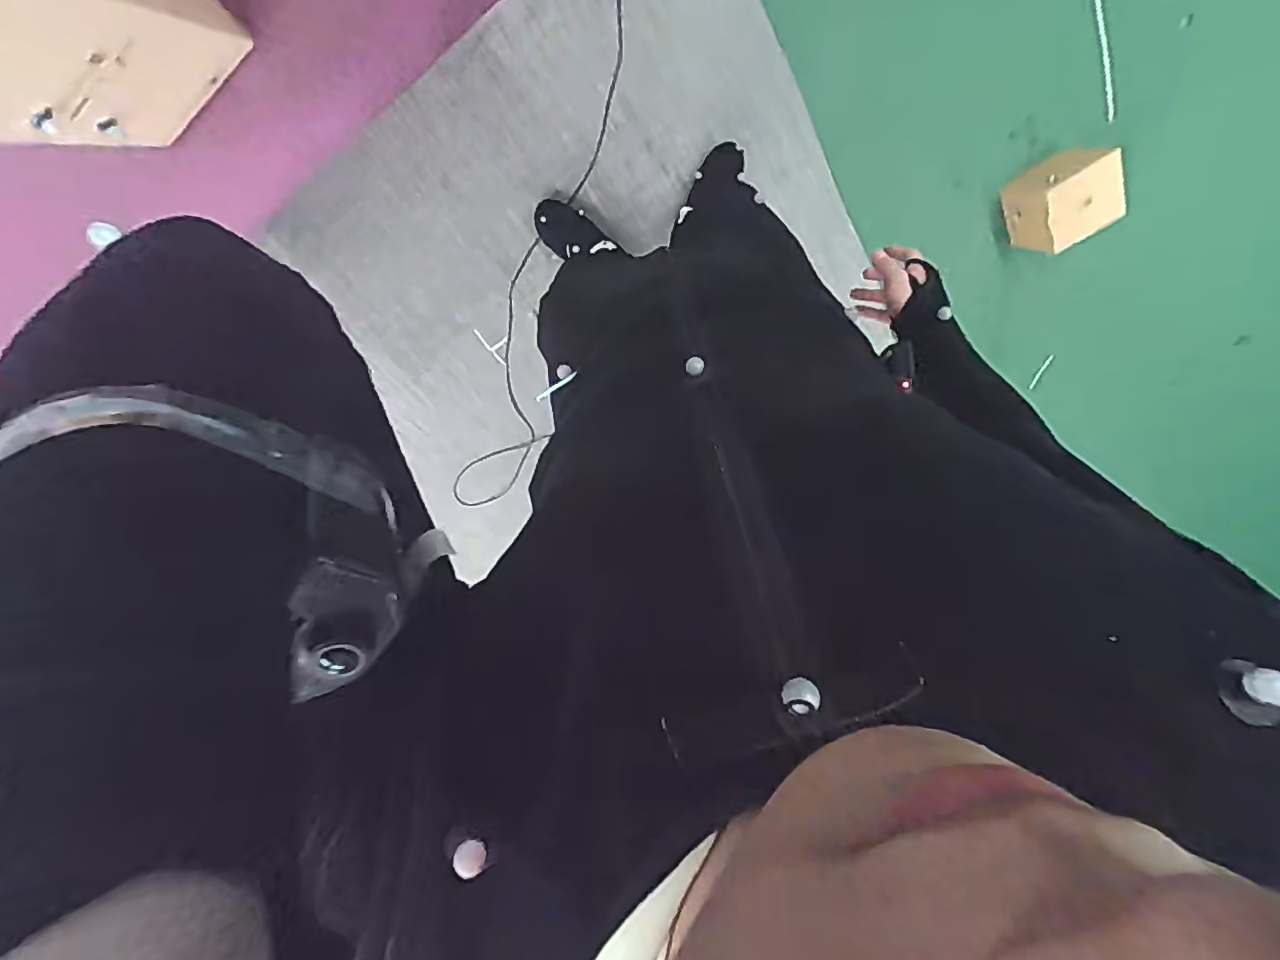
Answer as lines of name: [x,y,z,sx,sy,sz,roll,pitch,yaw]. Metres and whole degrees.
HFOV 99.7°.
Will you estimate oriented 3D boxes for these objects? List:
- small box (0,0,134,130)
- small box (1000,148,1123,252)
small box: [-0.518,-0.366,0.363,0.168,0.176,0.179,-34,118,14]
small box: [1.064,-0.716,1.373,0.179,0.176,0.168,-31,120,13]
